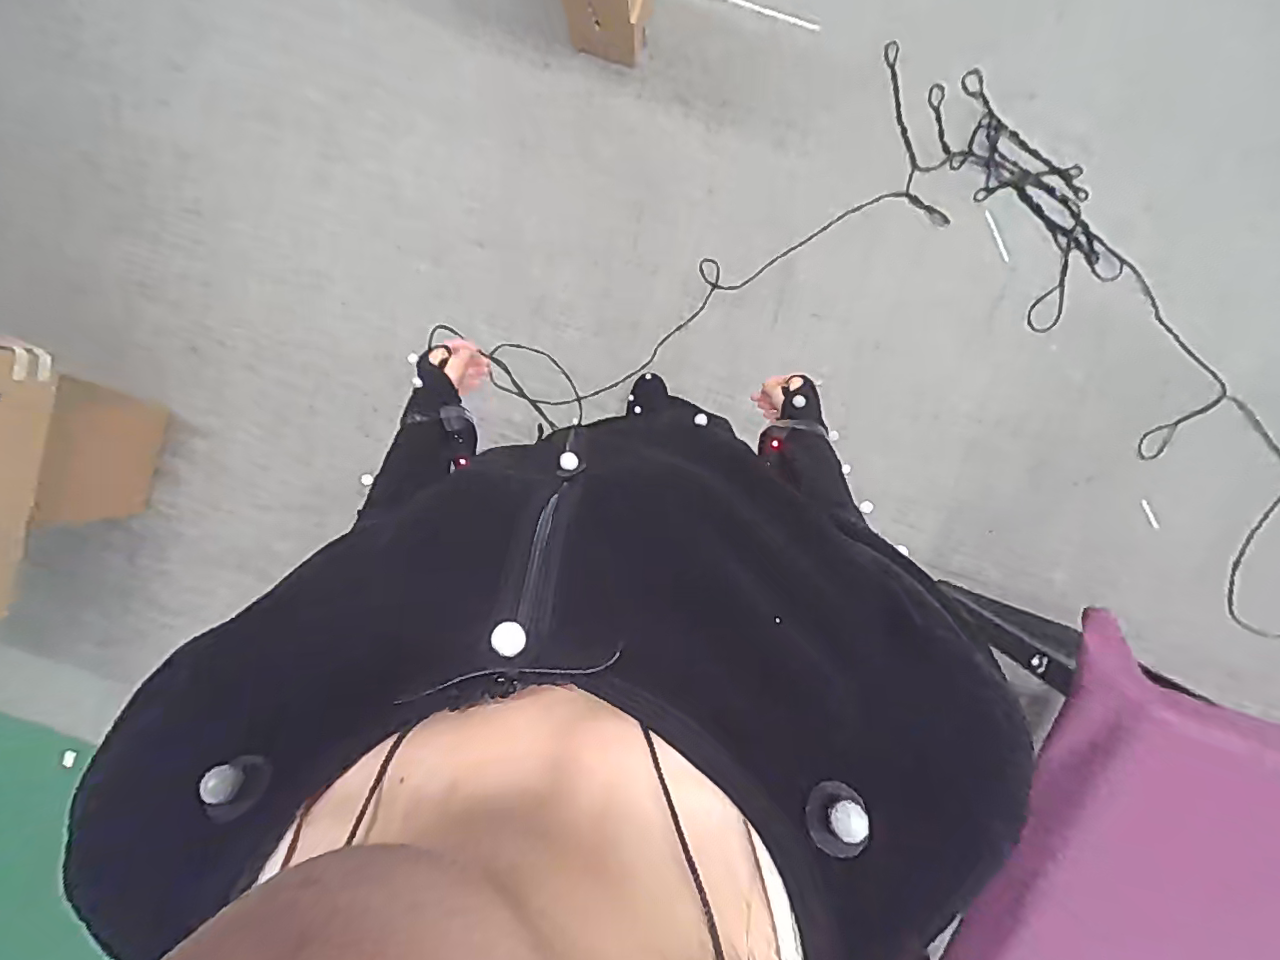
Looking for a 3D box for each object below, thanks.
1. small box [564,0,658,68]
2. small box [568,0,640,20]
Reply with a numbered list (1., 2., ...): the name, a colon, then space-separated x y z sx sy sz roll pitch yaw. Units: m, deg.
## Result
1. small box: -0.063 -1.126 1.279 0.179 0.176 0.168 18 97 -1
2. small box: -0.077 -1.109 1.116 0.179 0.176 0.168 18 99 -1
